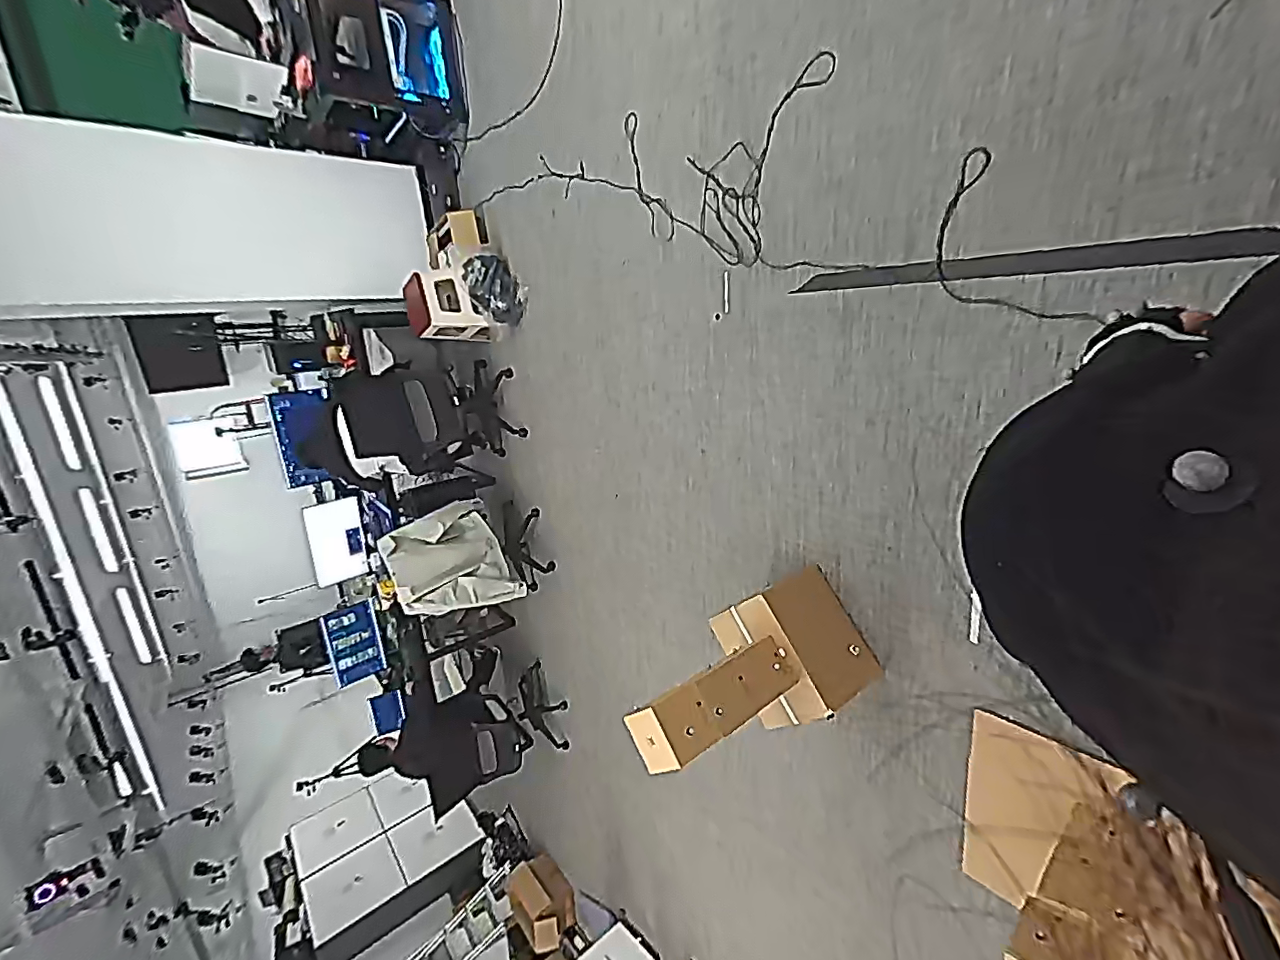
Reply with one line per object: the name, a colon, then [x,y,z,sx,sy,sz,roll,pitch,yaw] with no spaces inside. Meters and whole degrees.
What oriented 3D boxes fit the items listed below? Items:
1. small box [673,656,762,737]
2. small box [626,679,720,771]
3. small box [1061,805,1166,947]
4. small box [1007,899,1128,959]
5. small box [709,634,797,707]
small box: [0.224,0.644,1.596,0.168,0.176,0.179,61,143,16]
small box: [0.097,0.676,1.499,0.168,0.176,0.179,61,142,17]
small box: [1.135,0.934,1.295,0.168,0.176,0.179,1,104,50]
small box: [0.882,1.028,1.111,0.168,0.176,0.179,1,105,52]
small box: [0.352,0.606,1.691,0.168,0.176,0.179,61,141,17]
